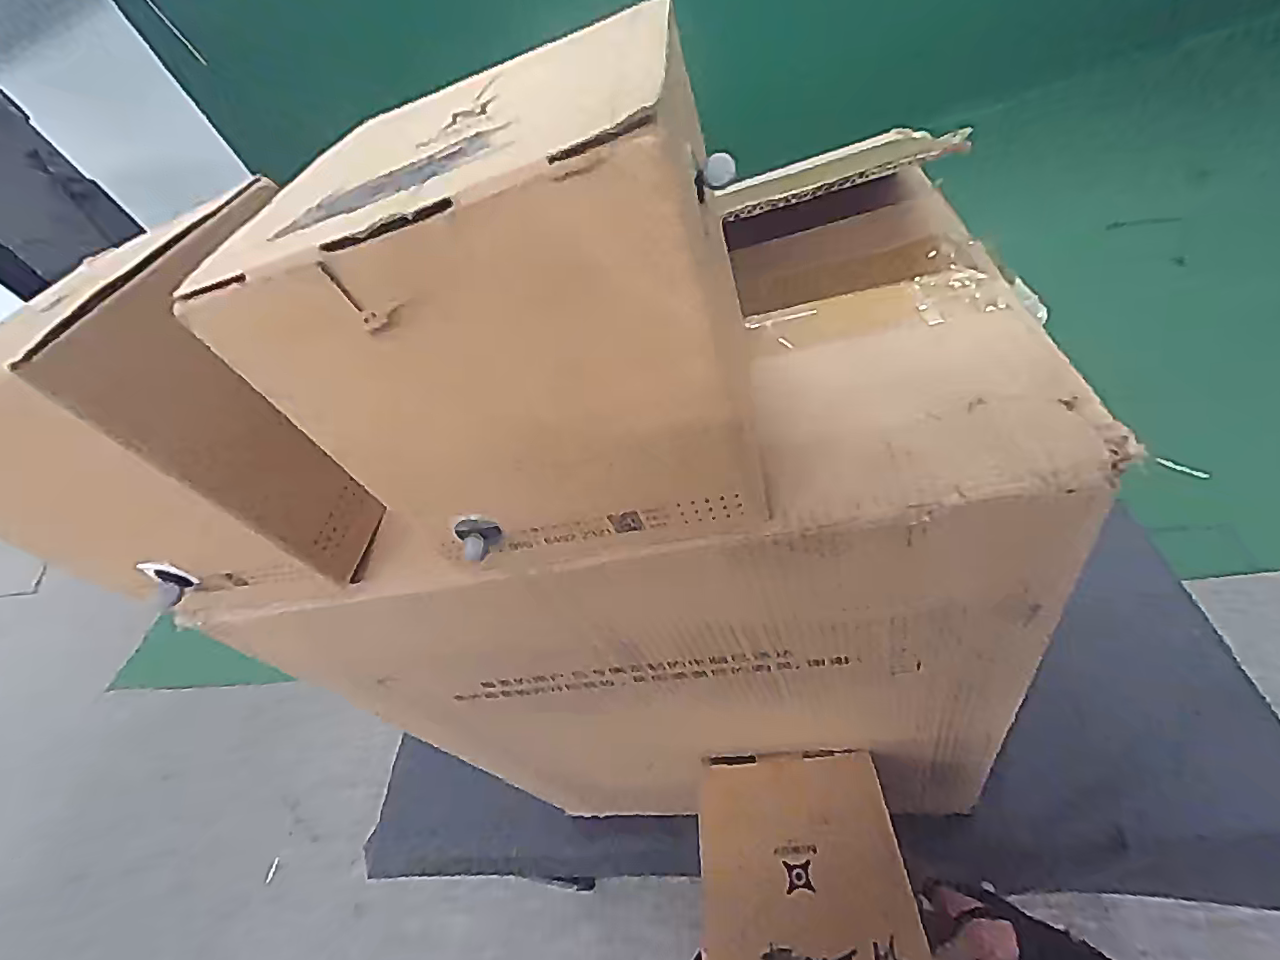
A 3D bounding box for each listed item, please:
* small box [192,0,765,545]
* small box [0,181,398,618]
[{"bbox_3d":[-0.040,-0.083,0.263,0.168,0.176,0.179,-11,46,15],"label":"small box"},{"bbox_3d":[-0.257,-0.038,0.328,0.168,0.176,0.179,-12,48,18],"label":"small box"}]
